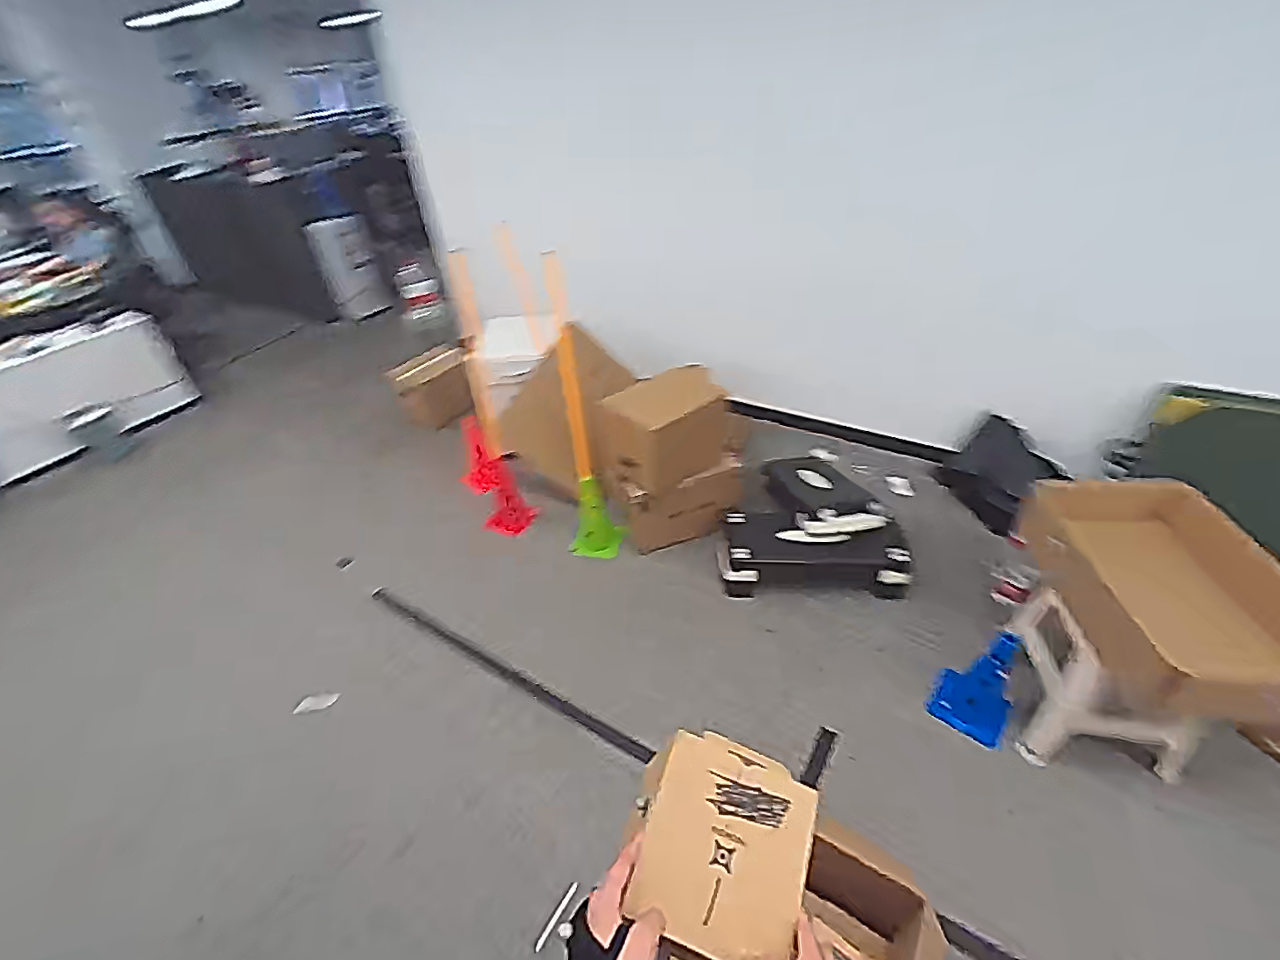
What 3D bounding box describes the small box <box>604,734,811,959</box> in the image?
[{"bbox_3d":[0.070,0.424,0.605,0.168,0.176,0.179,23,49,5],"label":"small box"}]
